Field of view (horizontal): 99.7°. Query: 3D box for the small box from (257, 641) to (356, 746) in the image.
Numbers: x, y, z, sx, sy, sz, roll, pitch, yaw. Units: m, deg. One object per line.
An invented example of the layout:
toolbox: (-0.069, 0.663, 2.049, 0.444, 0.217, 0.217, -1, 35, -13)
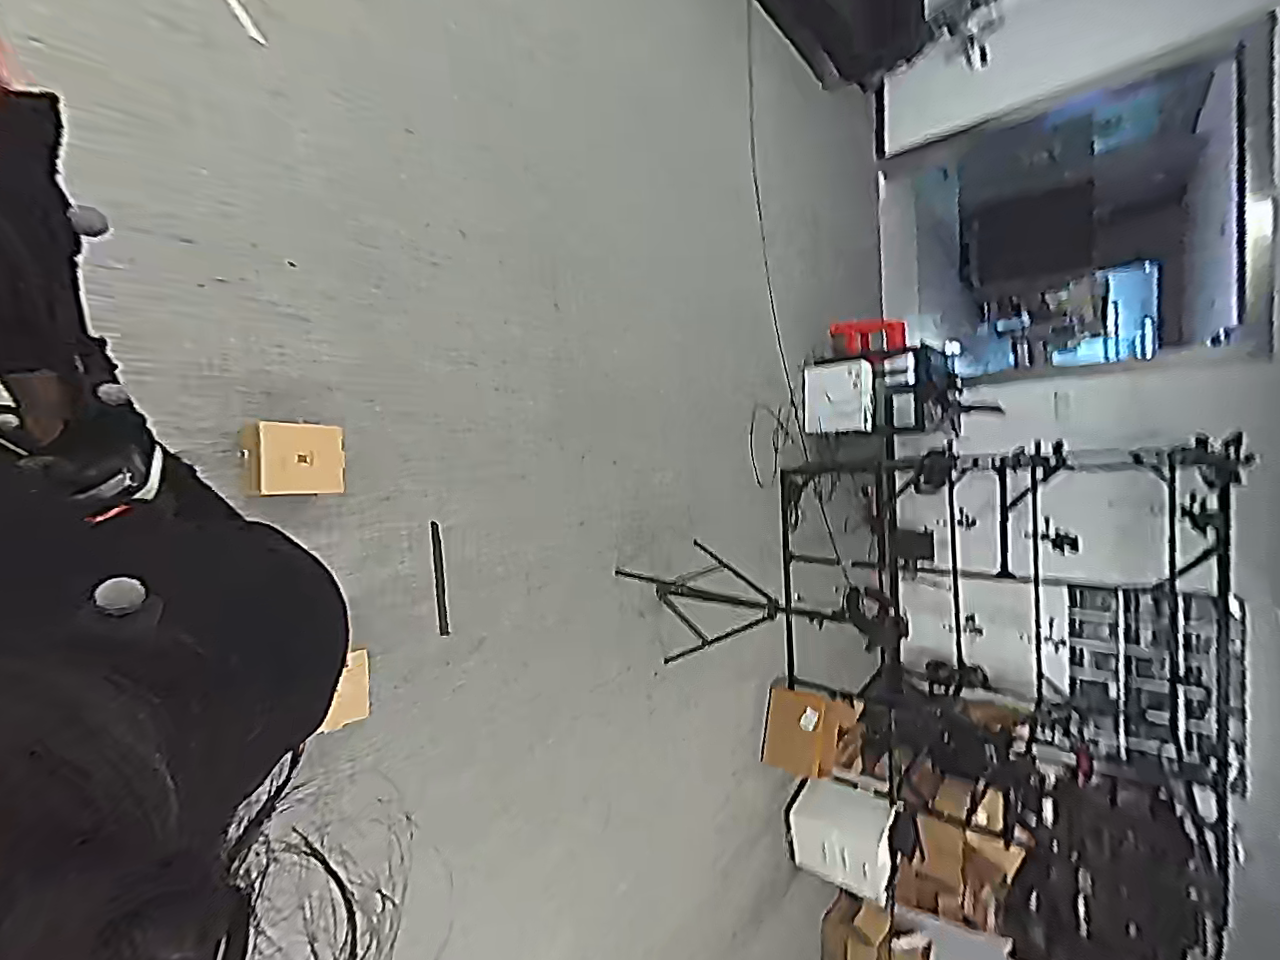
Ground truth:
small box: (-0.824, 0.517, 1.336, 0.168, 0.176, 0.179, -1, 91, -51)

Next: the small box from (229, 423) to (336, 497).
small box: (-0.859, -0.044, 1.300, 0.179, 0.176, 0.168, -1, 89, -50)
